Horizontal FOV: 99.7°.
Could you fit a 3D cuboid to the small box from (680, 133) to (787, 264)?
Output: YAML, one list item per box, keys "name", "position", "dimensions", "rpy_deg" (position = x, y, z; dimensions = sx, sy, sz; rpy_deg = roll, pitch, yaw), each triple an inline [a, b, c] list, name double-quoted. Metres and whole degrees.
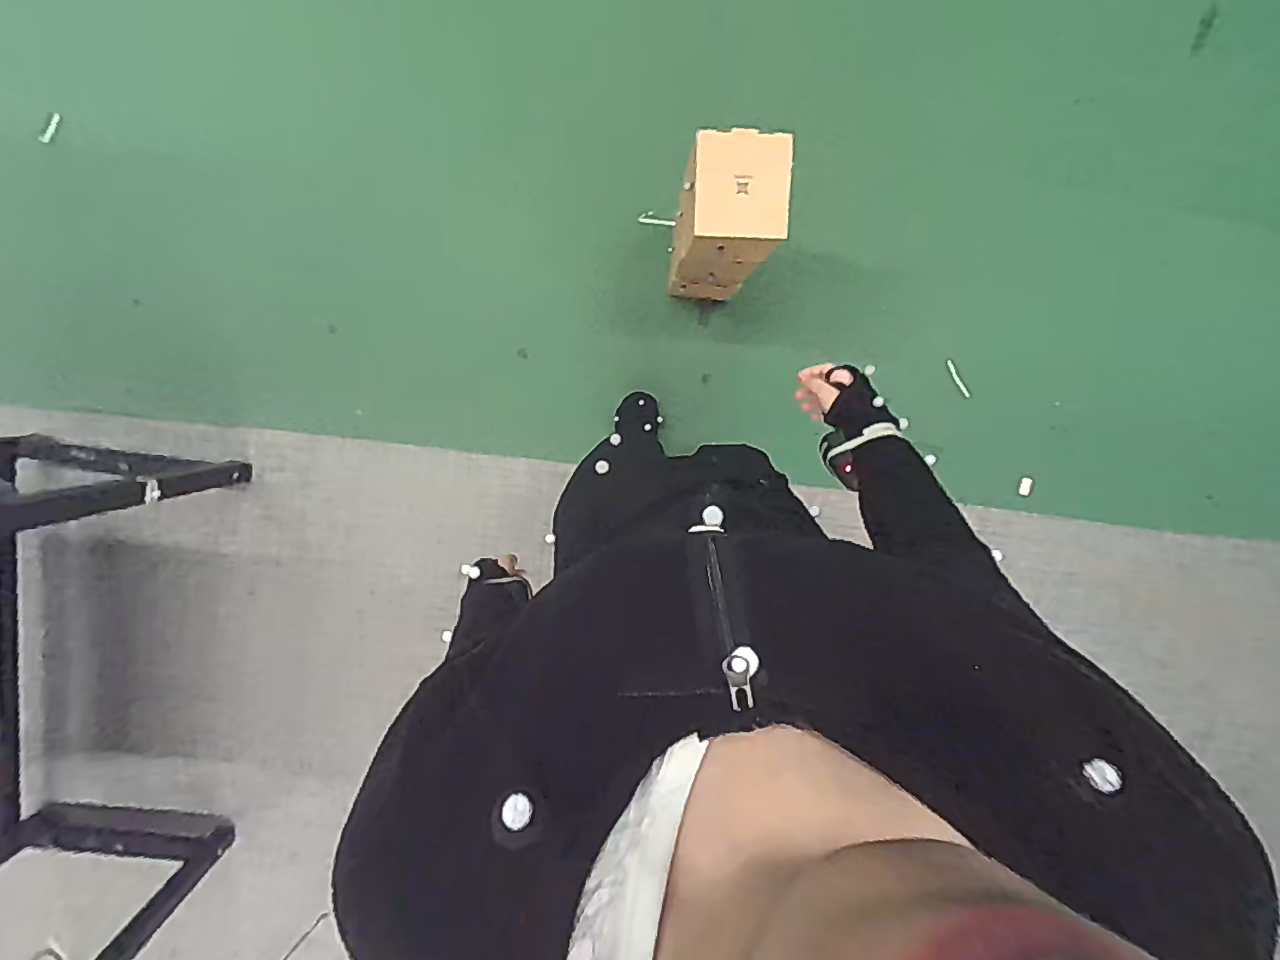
- name: "small box"
  position: [0.167, -0.517, 1.018]
  dimensions: [0.168, 0.176, 0.179]
  rpy_deg: [1, 97, -2]

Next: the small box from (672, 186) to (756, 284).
- name: "small box"
  position: [0.162, -0.542, 1.178]
  dimensions: [0.168, 0.176, 0.179]
  rpy_deg: [4, 97, -2]
